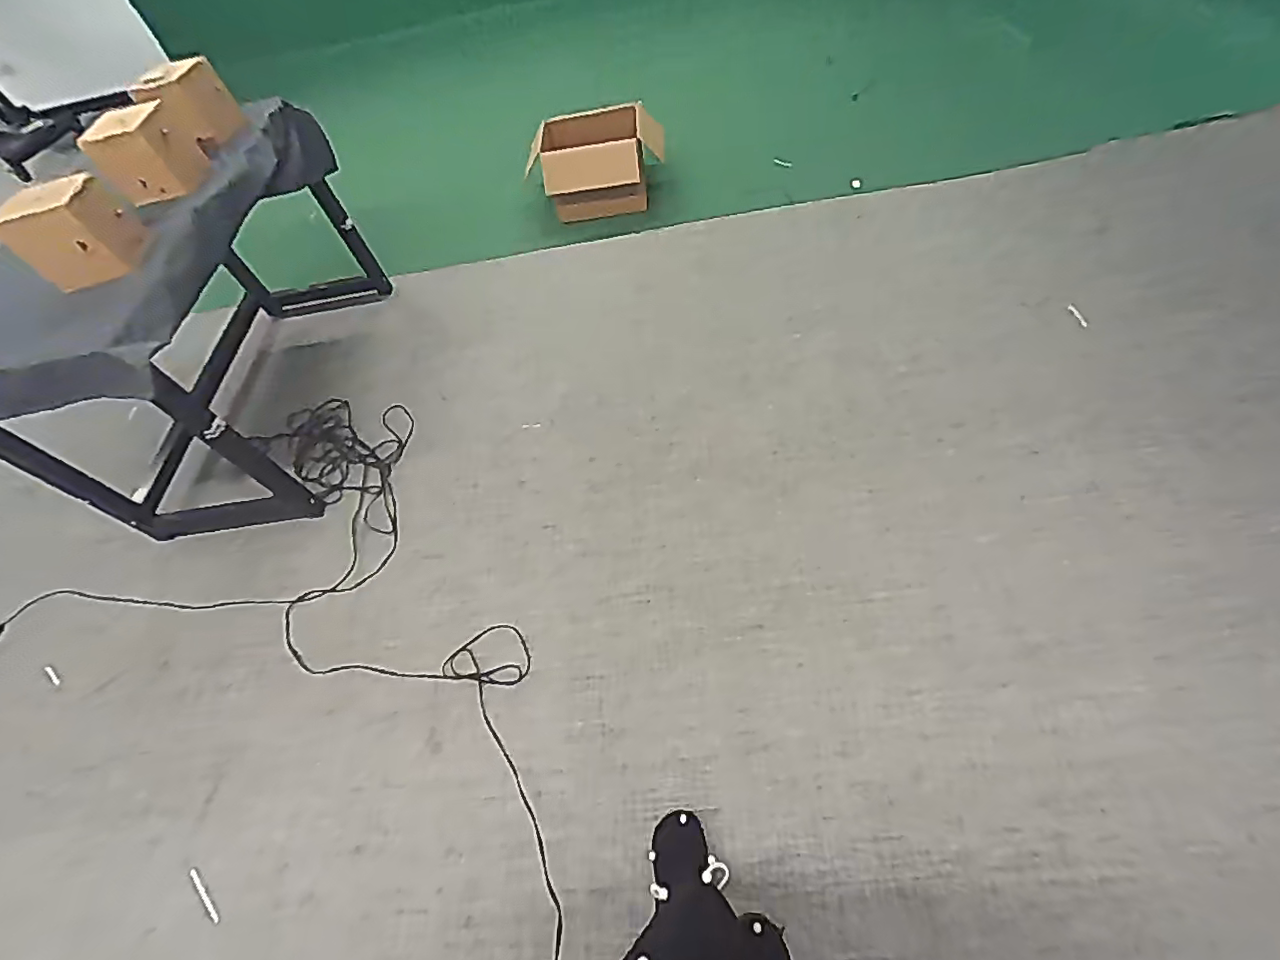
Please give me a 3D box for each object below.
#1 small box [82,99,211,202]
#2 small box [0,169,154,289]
[{"bbox_3d":[-1.314,-0.884,1.457,0.168,0.176,0.179,-10,56,4],"label":"small box"},{"bbox_3d":[-1.289,-0.575,1.247,0.179,0.176,0.168,-17,54,0],"label":"small box"}]
